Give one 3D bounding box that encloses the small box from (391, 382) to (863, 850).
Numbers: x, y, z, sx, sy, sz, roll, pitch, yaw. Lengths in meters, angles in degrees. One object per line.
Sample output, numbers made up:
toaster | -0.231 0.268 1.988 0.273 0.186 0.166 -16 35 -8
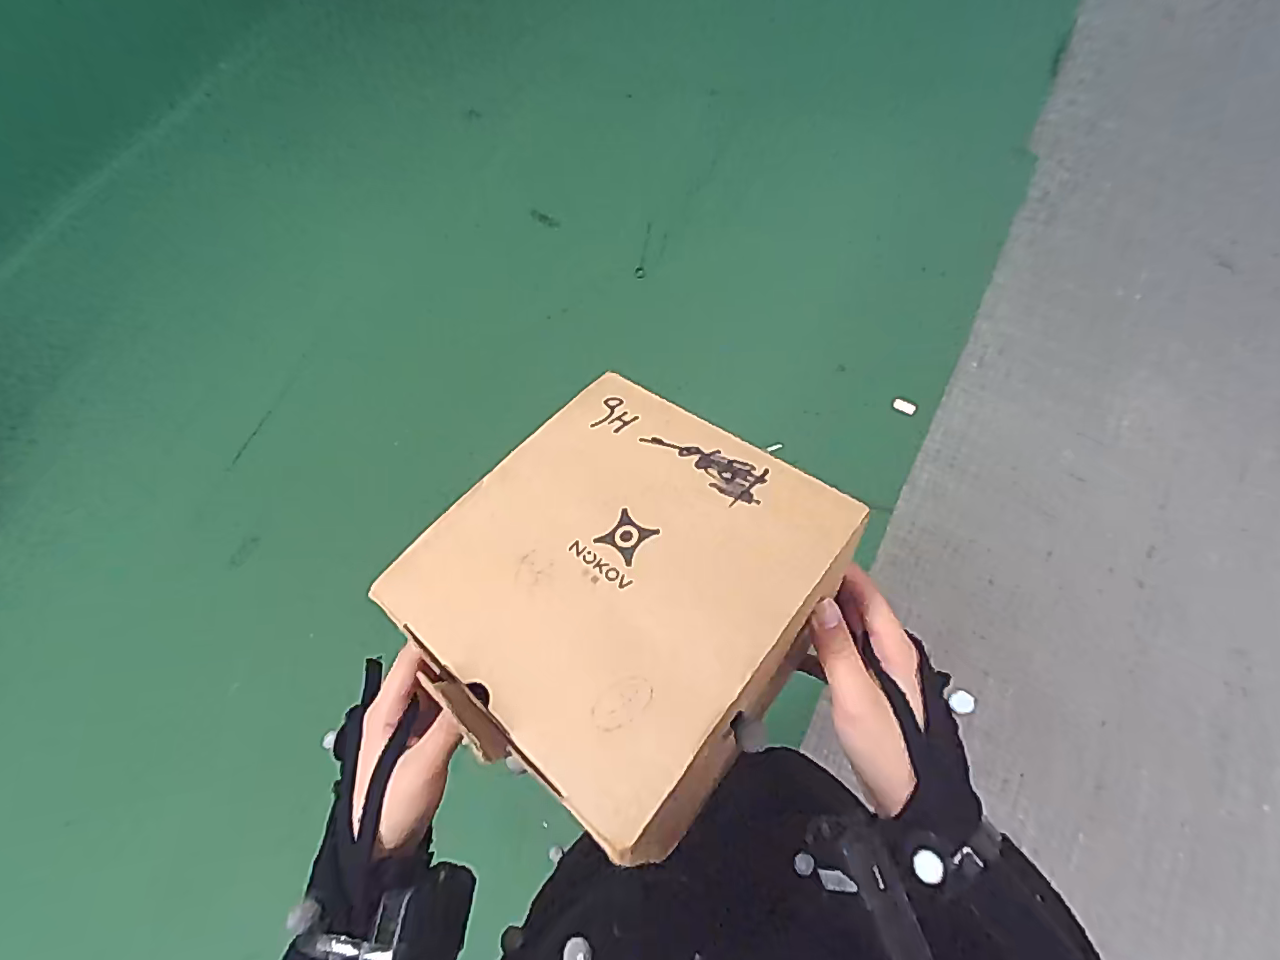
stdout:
small box | 0.002 0.082 0.323 0.168 0.176 0.179 33 67 27
